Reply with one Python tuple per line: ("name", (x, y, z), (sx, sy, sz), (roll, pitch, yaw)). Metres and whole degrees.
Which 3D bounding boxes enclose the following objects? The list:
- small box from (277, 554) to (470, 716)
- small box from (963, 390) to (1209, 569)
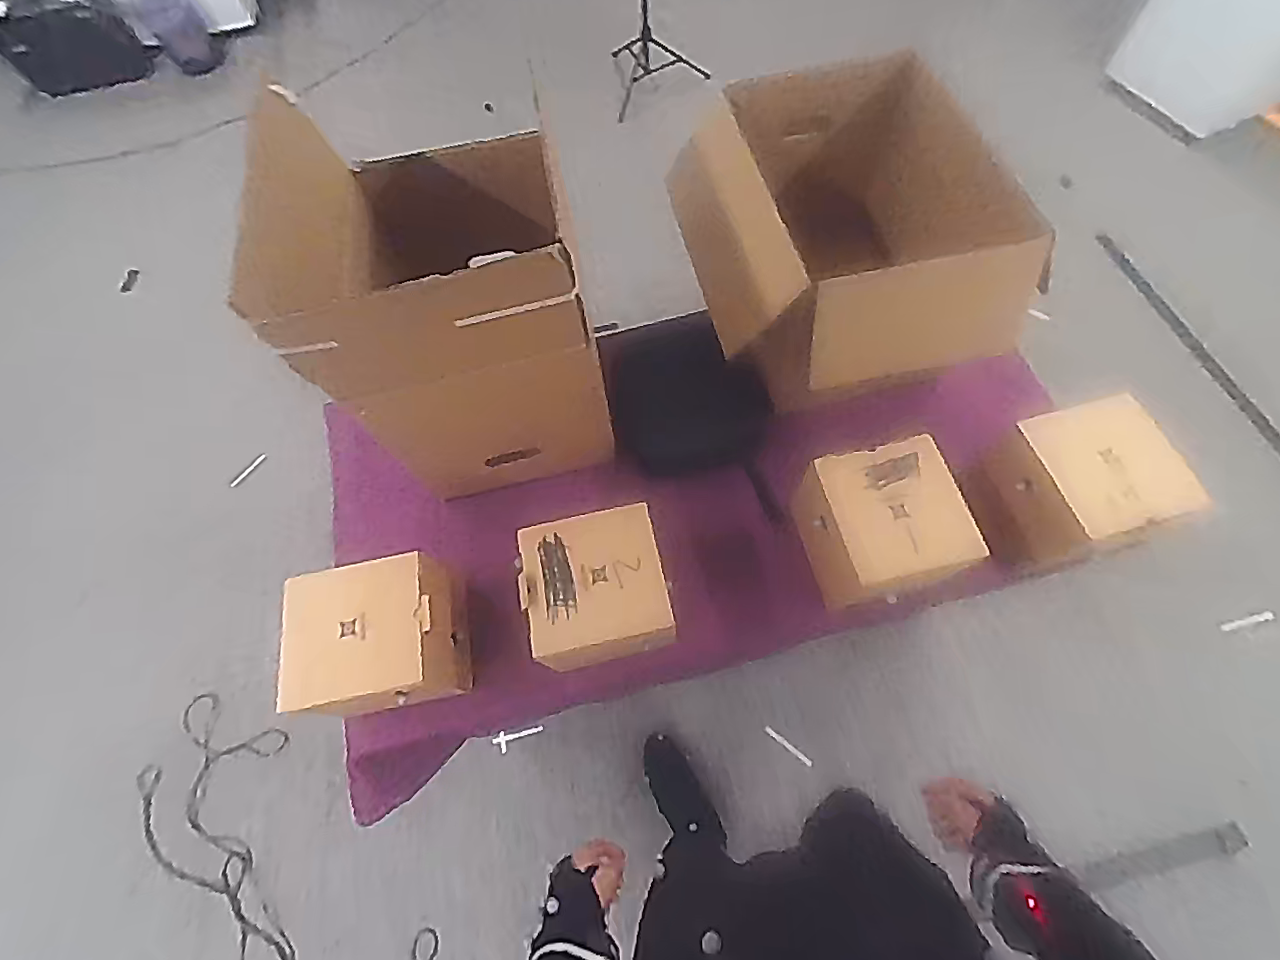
("small box", (-0.349, 0.218, 0.736), (0.179, 0.176, 0.168), (-12, 66, -3))
("small box", (0.601, 0.006, 0.763), (0.168, 0.176, 0.179), (-15, 66, -2))
